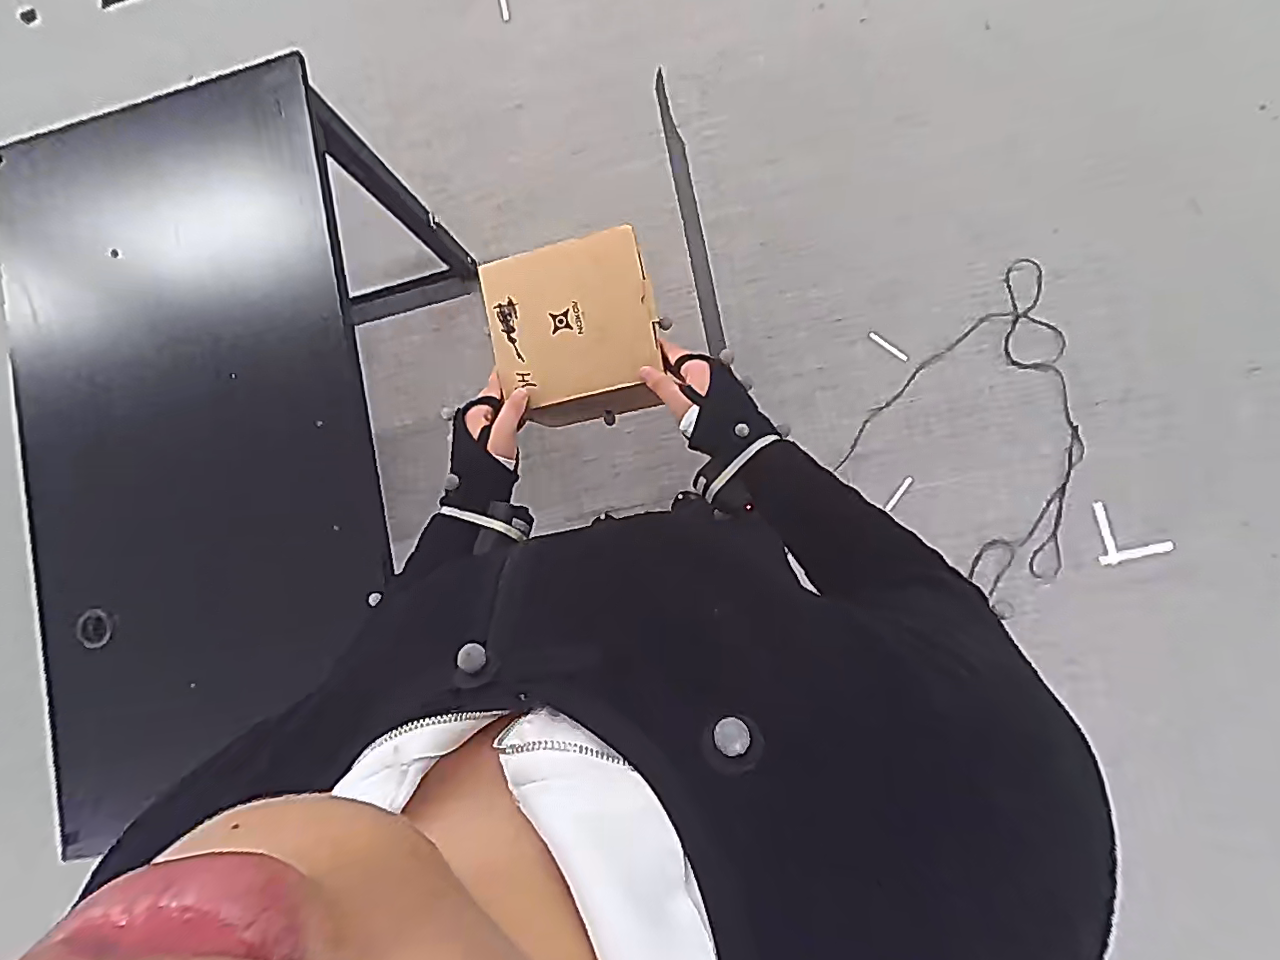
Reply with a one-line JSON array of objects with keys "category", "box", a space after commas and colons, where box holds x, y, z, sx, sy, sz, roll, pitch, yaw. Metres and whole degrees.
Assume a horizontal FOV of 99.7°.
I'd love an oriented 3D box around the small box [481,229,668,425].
[{"category": "small box", "box": [-0.064, -0.167, 0.647, 0.179, 0.176, 0.168, -11, 89, 7]}]
